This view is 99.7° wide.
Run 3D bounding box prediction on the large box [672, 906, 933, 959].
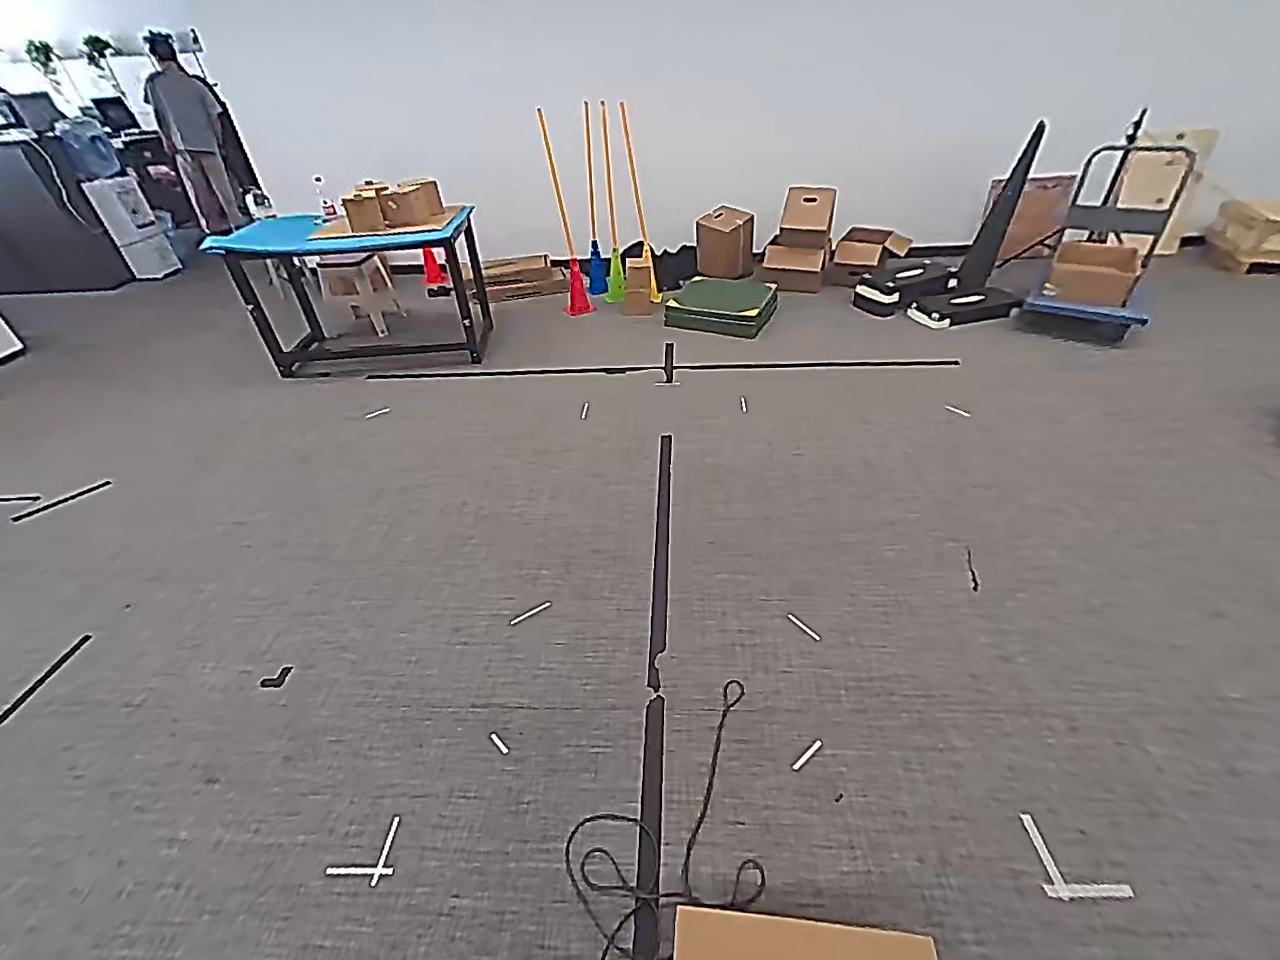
[{"bbox_3d":[0.246,0.925,0.847,0.408,0.320,0.320,2,39,7],"label":"large box"}]
